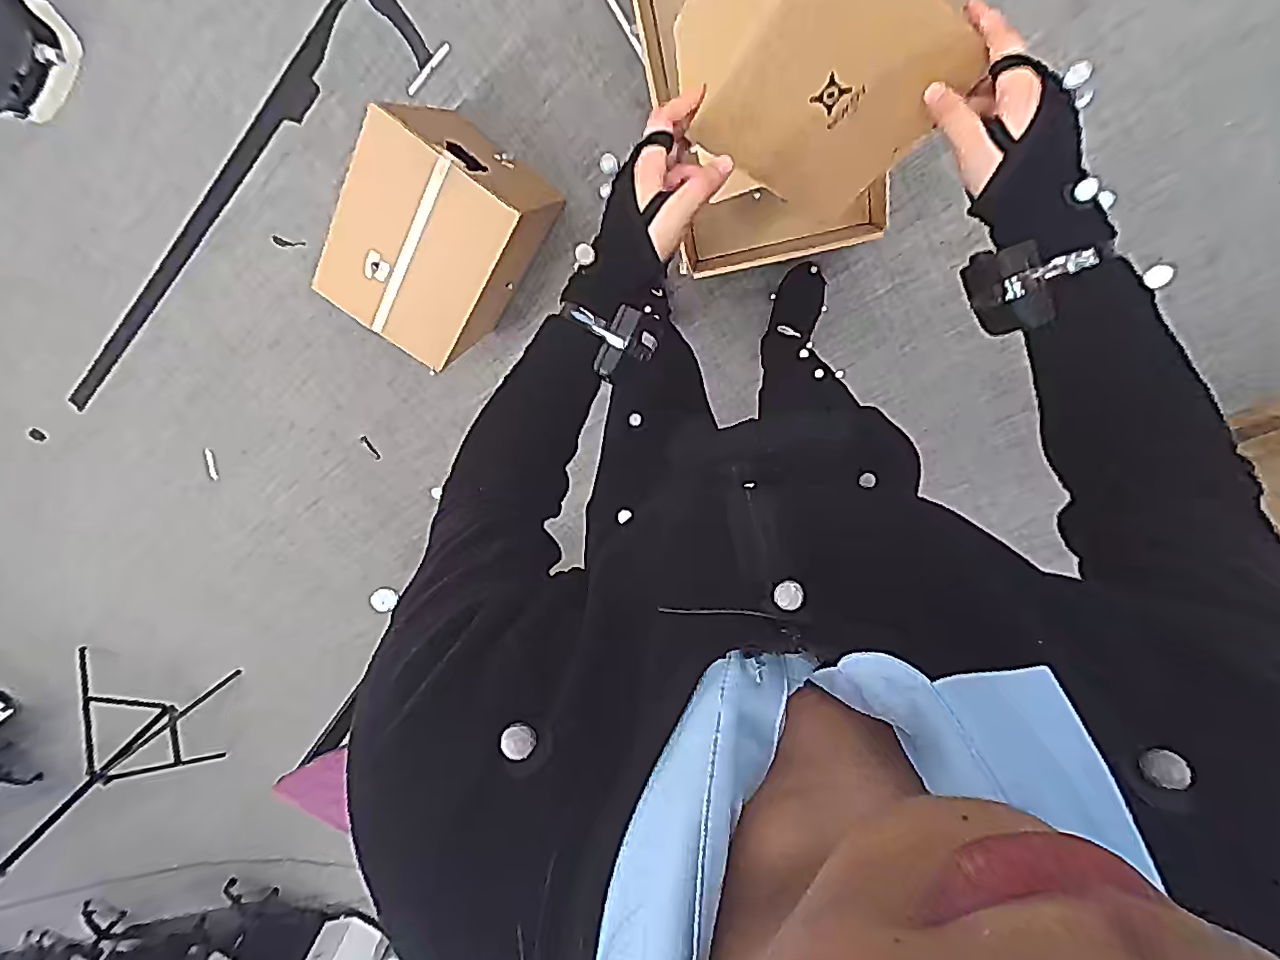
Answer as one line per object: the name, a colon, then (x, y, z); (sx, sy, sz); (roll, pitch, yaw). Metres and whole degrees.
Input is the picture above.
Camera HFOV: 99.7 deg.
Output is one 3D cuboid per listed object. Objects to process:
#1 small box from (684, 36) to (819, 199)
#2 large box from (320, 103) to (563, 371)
small box: (0.183, -0.571, 0.877); (0.179, 0.176, 0.168); (-11, 116, 17)
large box: (-0.425, -0.532, 1.195); (0.320, 0.320, 0.408); (35, 122, -10)
